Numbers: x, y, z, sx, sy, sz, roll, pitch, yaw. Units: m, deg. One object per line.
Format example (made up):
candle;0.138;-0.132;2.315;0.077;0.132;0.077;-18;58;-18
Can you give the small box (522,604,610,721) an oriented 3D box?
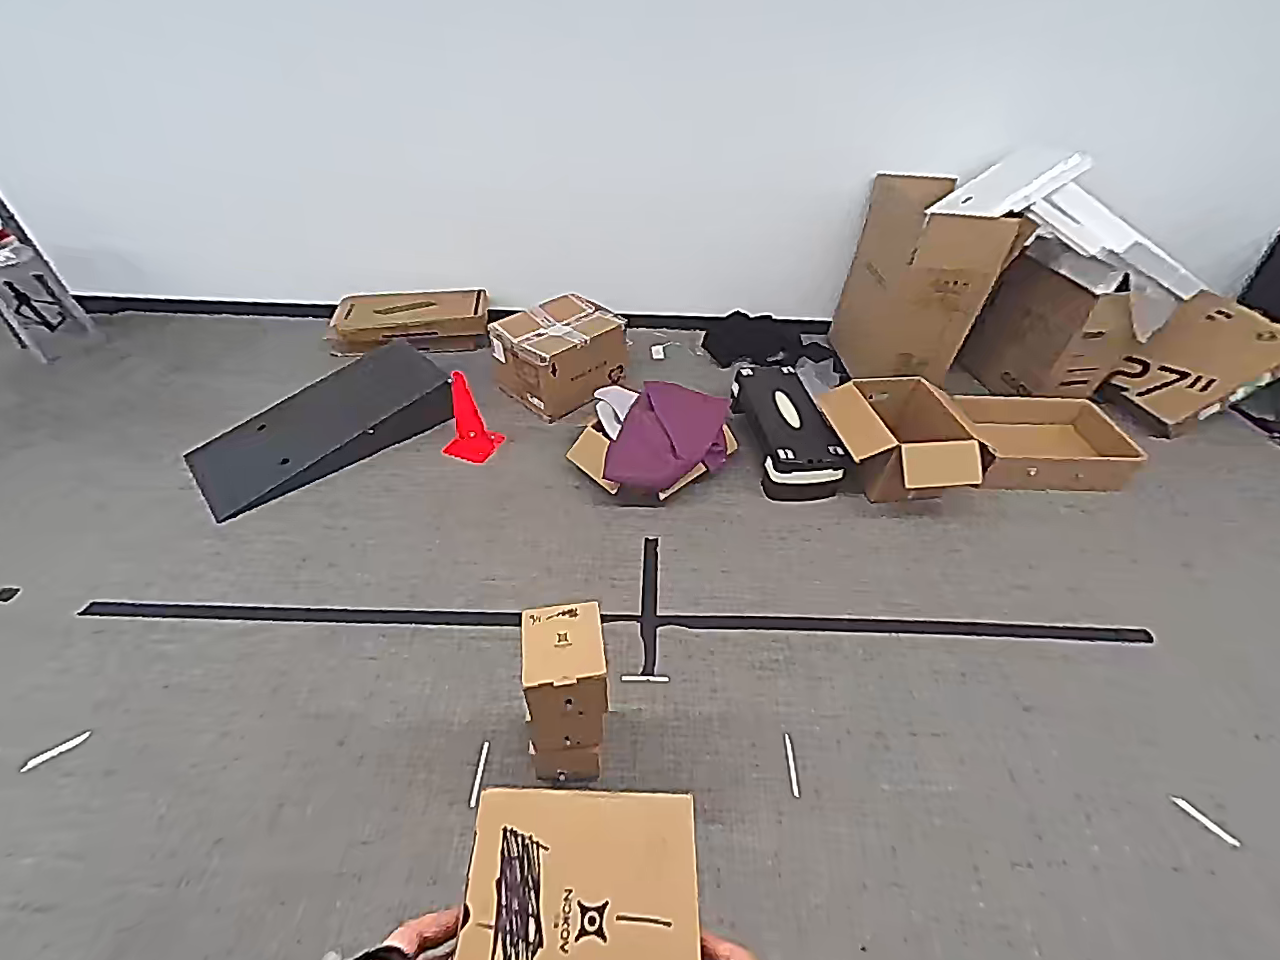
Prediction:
small box;-0.156;0.393;1.151;0.168;0.176;0.179;-6;44;-6

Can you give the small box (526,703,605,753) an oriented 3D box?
small box;-0.170;0.510;1.266;0.168;0.176;0.179;-5;44;-5

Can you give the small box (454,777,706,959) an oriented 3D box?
small box;-0.045;0.362;0.449;0.179;0.176;0.168;3;47;-3

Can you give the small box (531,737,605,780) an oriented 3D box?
small box;-0.176;0.639;1.370;0.168;0.176;0.179;-2;44;-2
